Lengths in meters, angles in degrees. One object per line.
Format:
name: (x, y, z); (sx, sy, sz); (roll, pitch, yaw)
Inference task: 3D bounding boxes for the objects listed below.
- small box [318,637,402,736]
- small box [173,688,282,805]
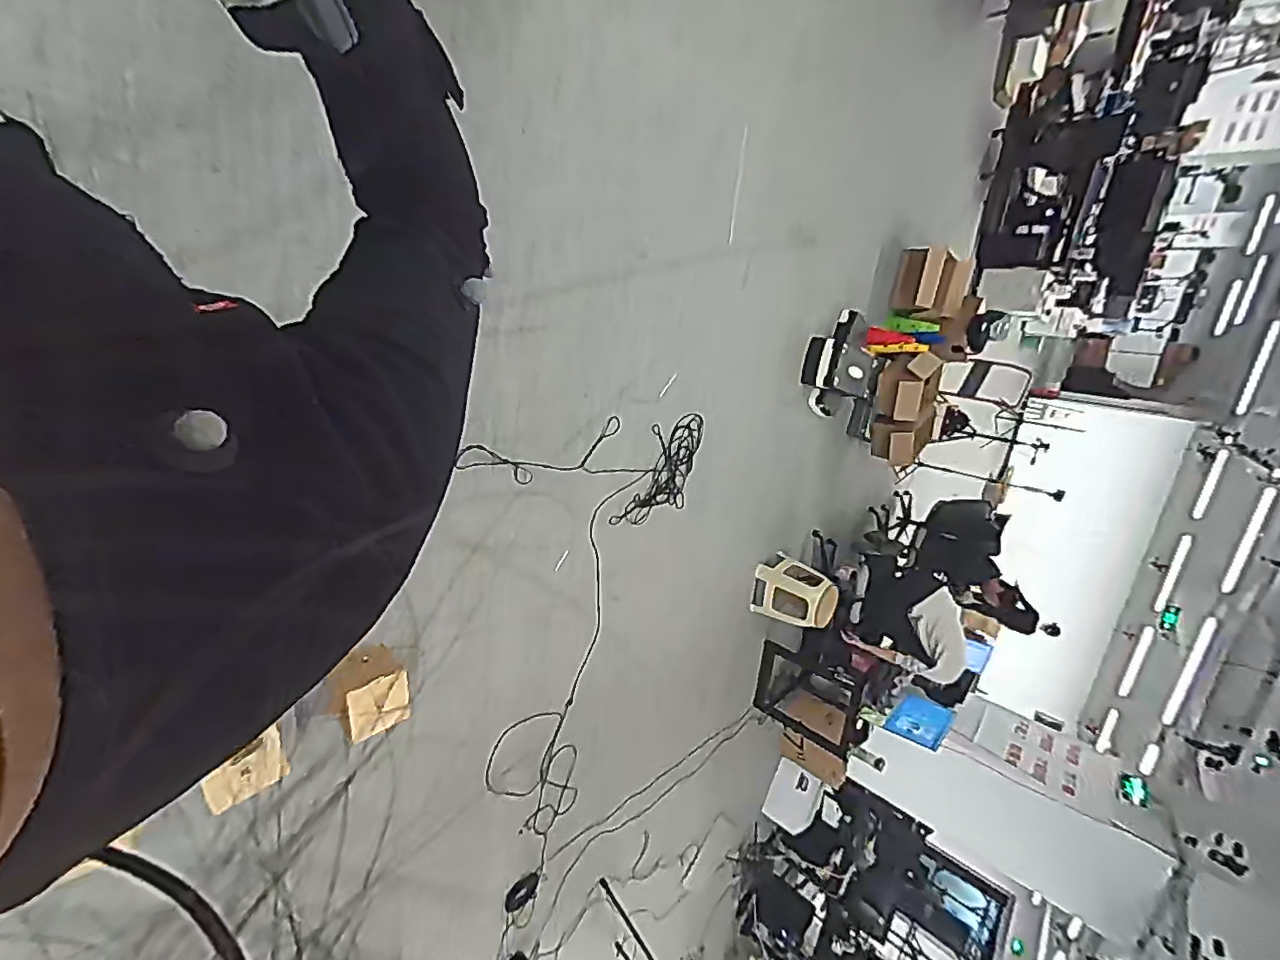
small box: (-0.817, 0.594, 1.579); (0.168, 0.176, 0.179); (-16, 117, -46)
small box: (-1.029, 0.649, 1.349); (0.168, 0.176, 0.179); (-21, 122, -43)
